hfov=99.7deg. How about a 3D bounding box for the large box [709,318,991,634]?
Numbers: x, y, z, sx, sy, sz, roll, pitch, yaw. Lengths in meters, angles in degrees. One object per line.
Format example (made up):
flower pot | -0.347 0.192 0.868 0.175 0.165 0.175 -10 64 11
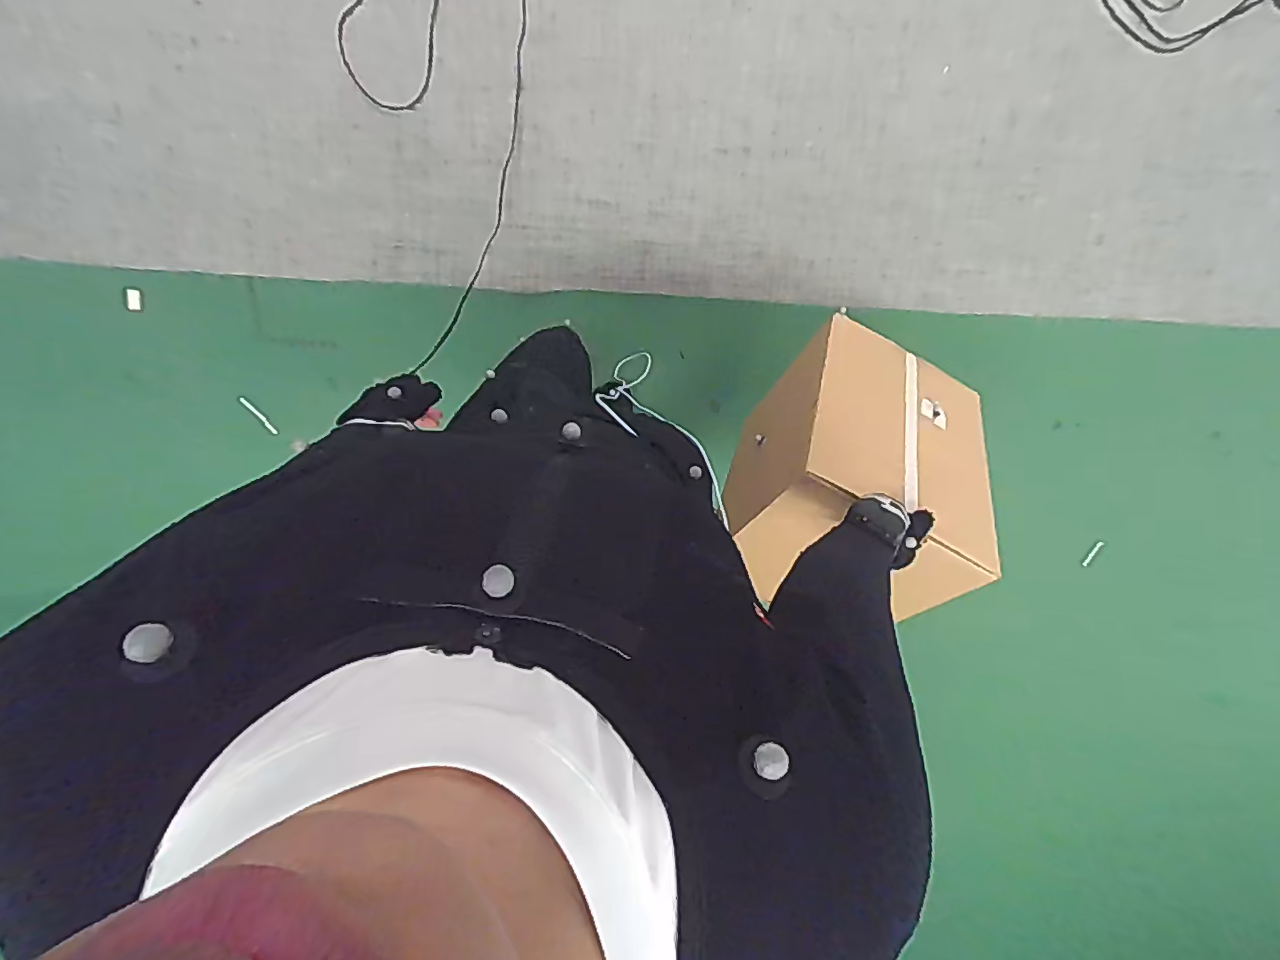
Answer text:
large box | 0.360 -0.002 0.971 0.320 0.408 0.320 29 141 -6
